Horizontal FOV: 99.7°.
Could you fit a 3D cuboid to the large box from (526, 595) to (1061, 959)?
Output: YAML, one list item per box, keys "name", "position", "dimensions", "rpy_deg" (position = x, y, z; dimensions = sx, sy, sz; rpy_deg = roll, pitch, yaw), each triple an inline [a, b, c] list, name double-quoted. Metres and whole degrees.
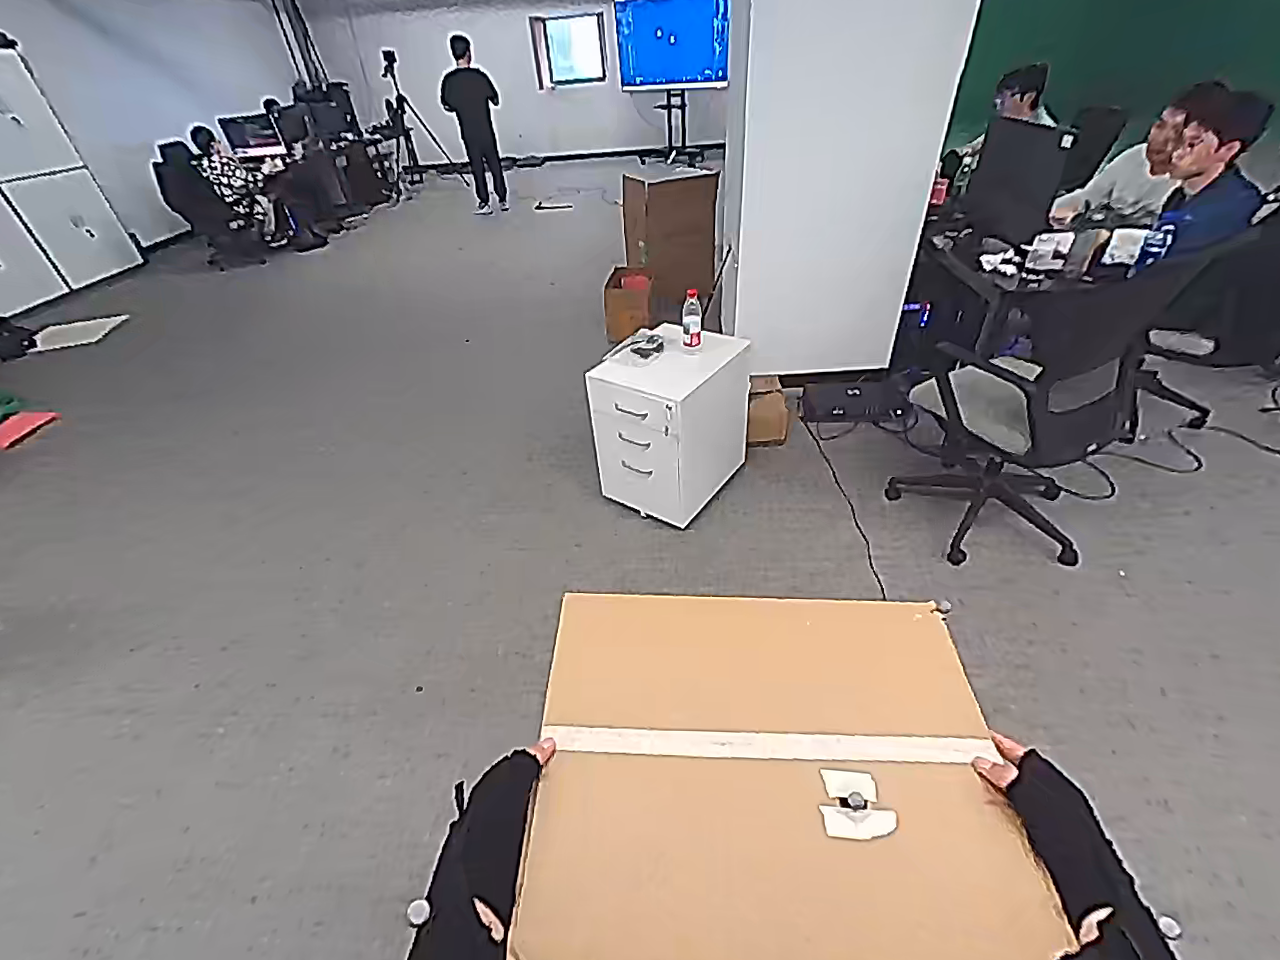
- name: "large box"
  position: [0.116, 0.348, 0.606]
  dimensions: [0.408, 0.320, 0.320]
  rpy_deg: [1, 45, 2]
